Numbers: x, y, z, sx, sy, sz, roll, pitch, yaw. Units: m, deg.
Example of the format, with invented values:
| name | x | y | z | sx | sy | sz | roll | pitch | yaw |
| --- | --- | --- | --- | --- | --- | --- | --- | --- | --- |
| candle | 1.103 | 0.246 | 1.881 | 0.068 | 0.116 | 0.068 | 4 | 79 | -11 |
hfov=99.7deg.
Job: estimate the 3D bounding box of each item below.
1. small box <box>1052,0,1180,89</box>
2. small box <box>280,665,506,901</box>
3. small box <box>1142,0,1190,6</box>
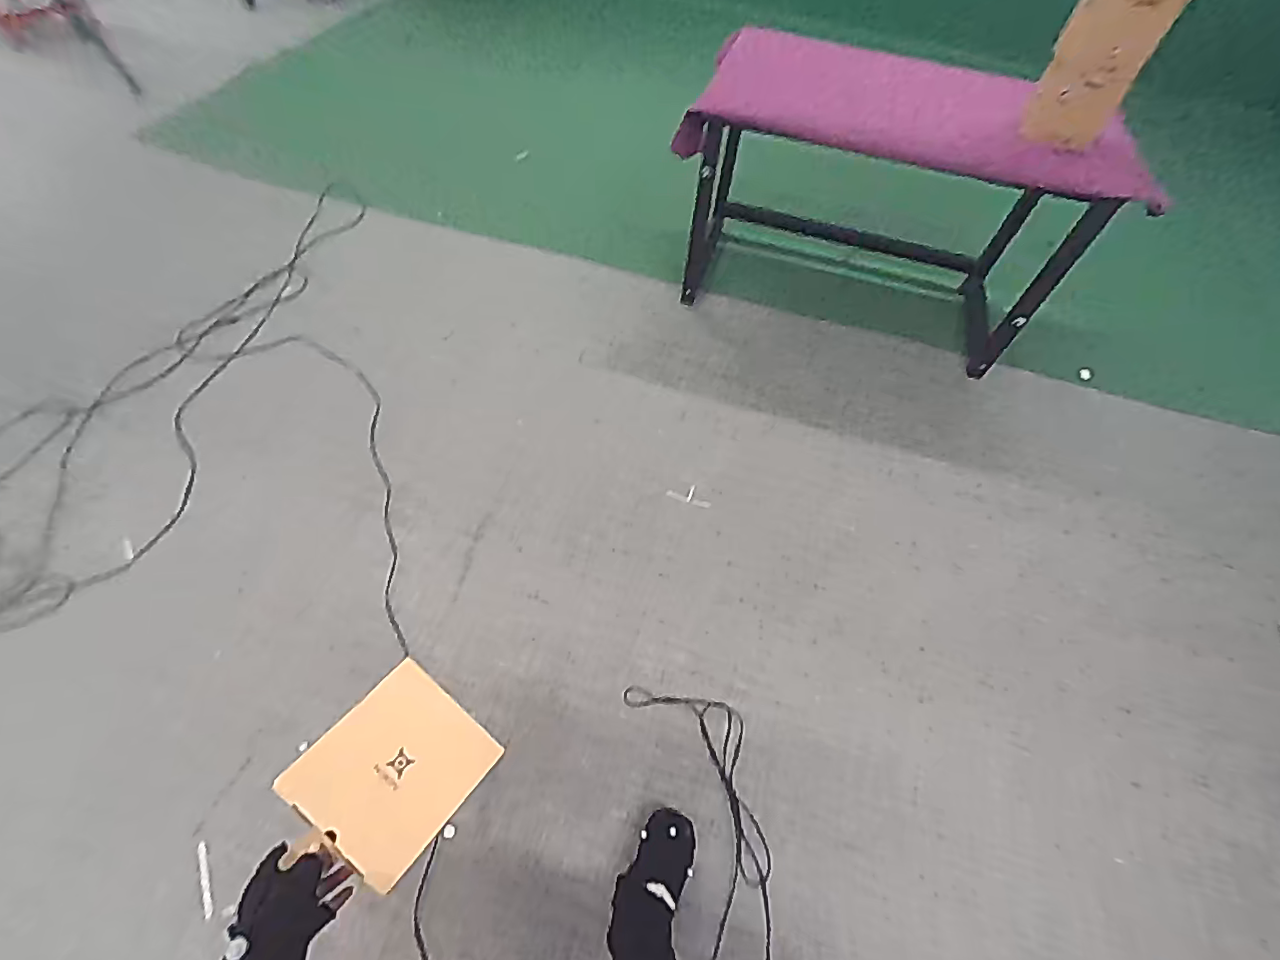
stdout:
| name | x | y | z | sx | sy | sz | roll | pitch | yaw |
| --- | --- | --- | --- | --- | --- | --- | --- | --- | --- |
| small box | 1.195 | -1.135 | 1.377 | 0.168 | 0.176 | 0.179 | 13 | 56 | 5 |
| small box | -0.295 | 0.364 | 0.668 | 0.168 | 0.176 | 0.179 | 41 | 55 | 4 |
| small box | 1.211 | -1.225 | 1.243 | 0.168 | 0.176 | 0.179 | 5 | 55 | -2 |
